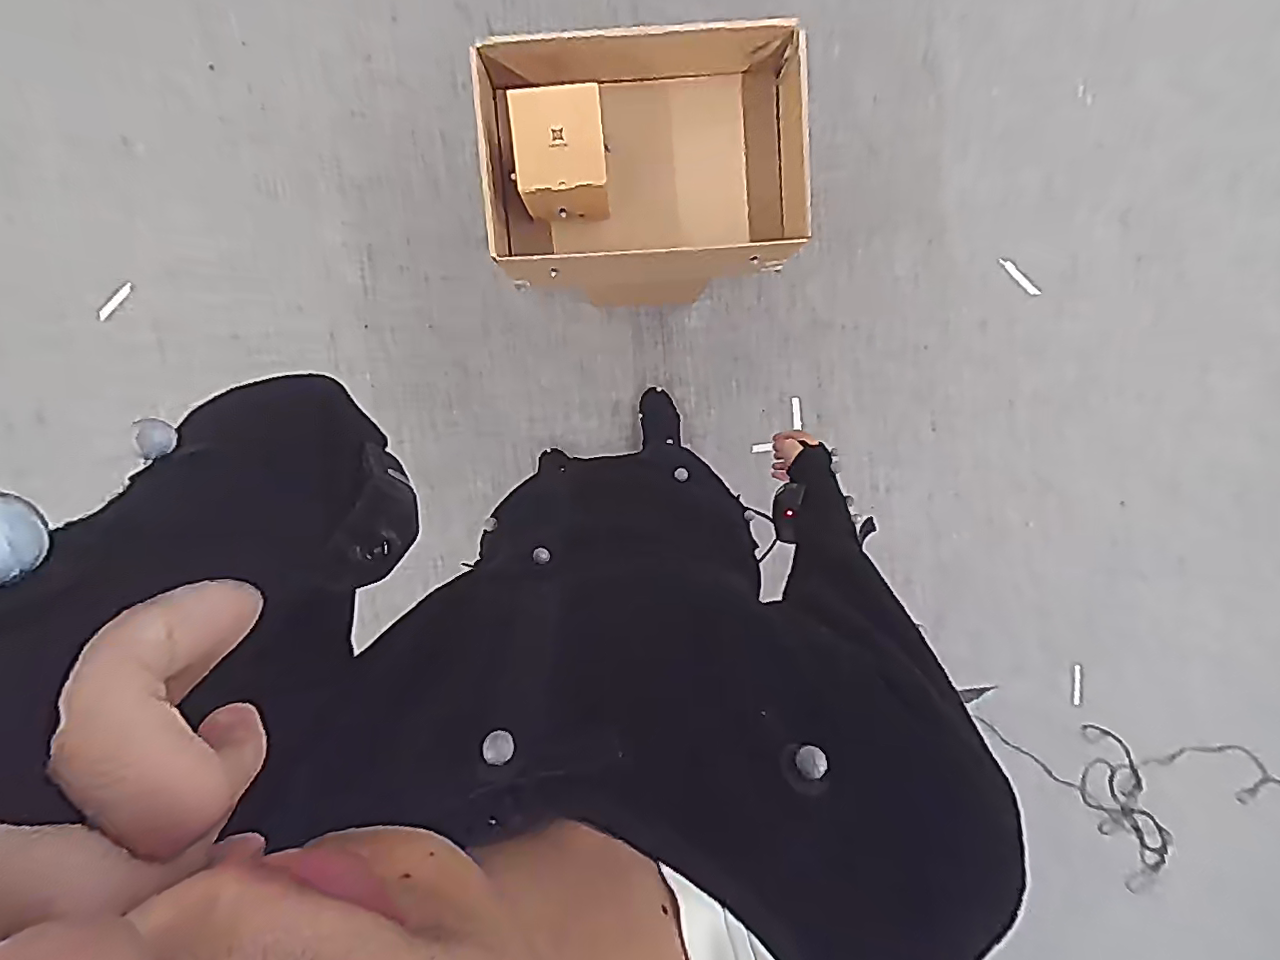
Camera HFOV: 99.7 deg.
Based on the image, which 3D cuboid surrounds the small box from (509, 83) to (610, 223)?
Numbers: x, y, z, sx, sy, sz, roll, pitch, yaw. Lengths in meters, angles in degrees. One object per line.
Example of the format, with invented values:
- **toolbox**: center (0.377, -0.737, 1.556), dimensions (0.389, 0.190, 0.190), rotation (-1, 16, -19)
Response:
- **small box**: center (-0.149, -0.626, 1.052), dimensions (0.168, 0.176, 0.179), rotation (-6, 98, -1)
